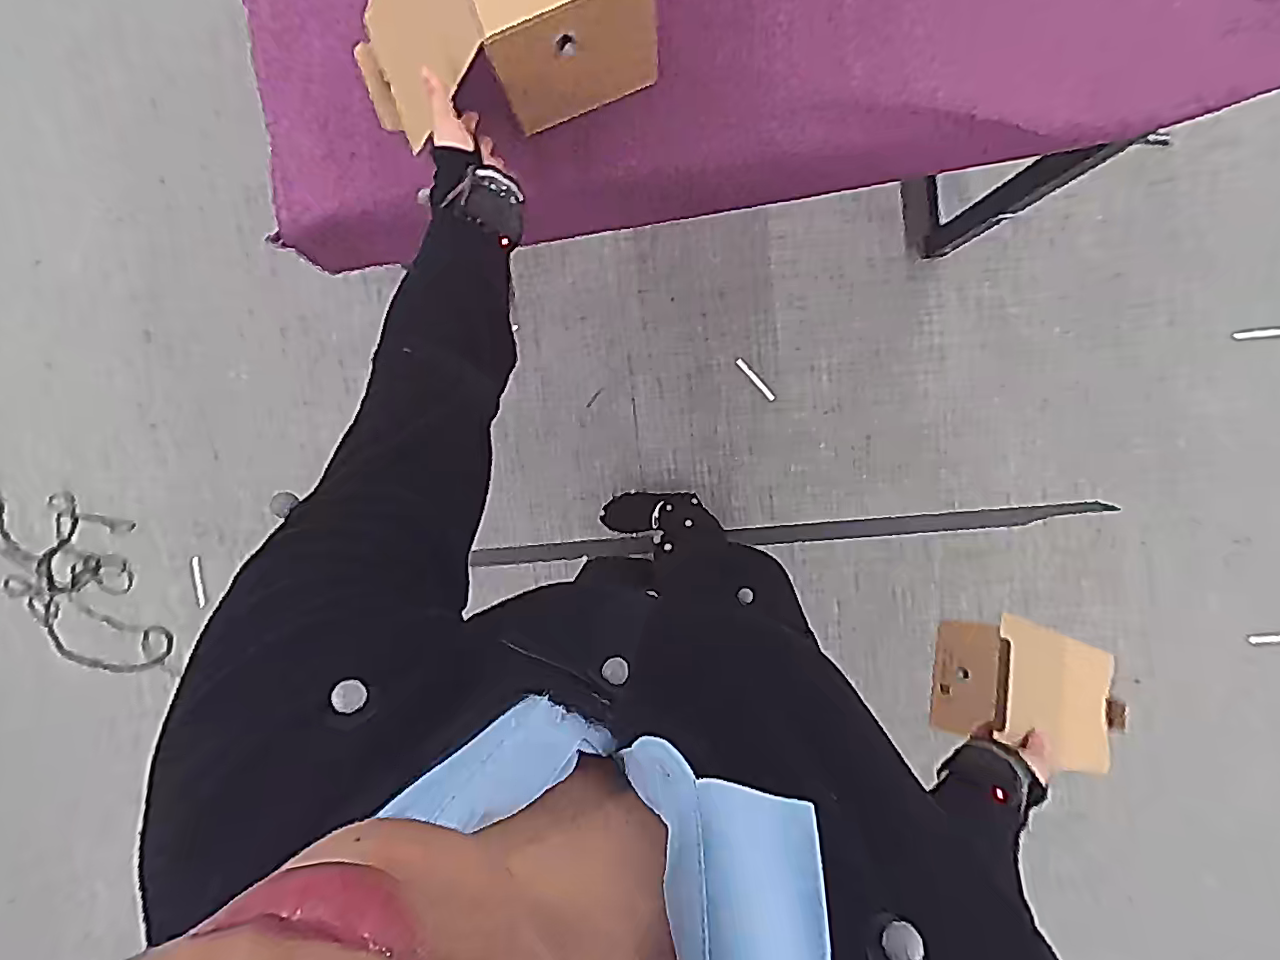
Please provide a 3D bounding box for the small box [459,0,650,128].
[{"bbox_3d":[-0.095,-0.516,0.568,0.179,0.176,0.168,-20,94,3],"label":"small box"}]
